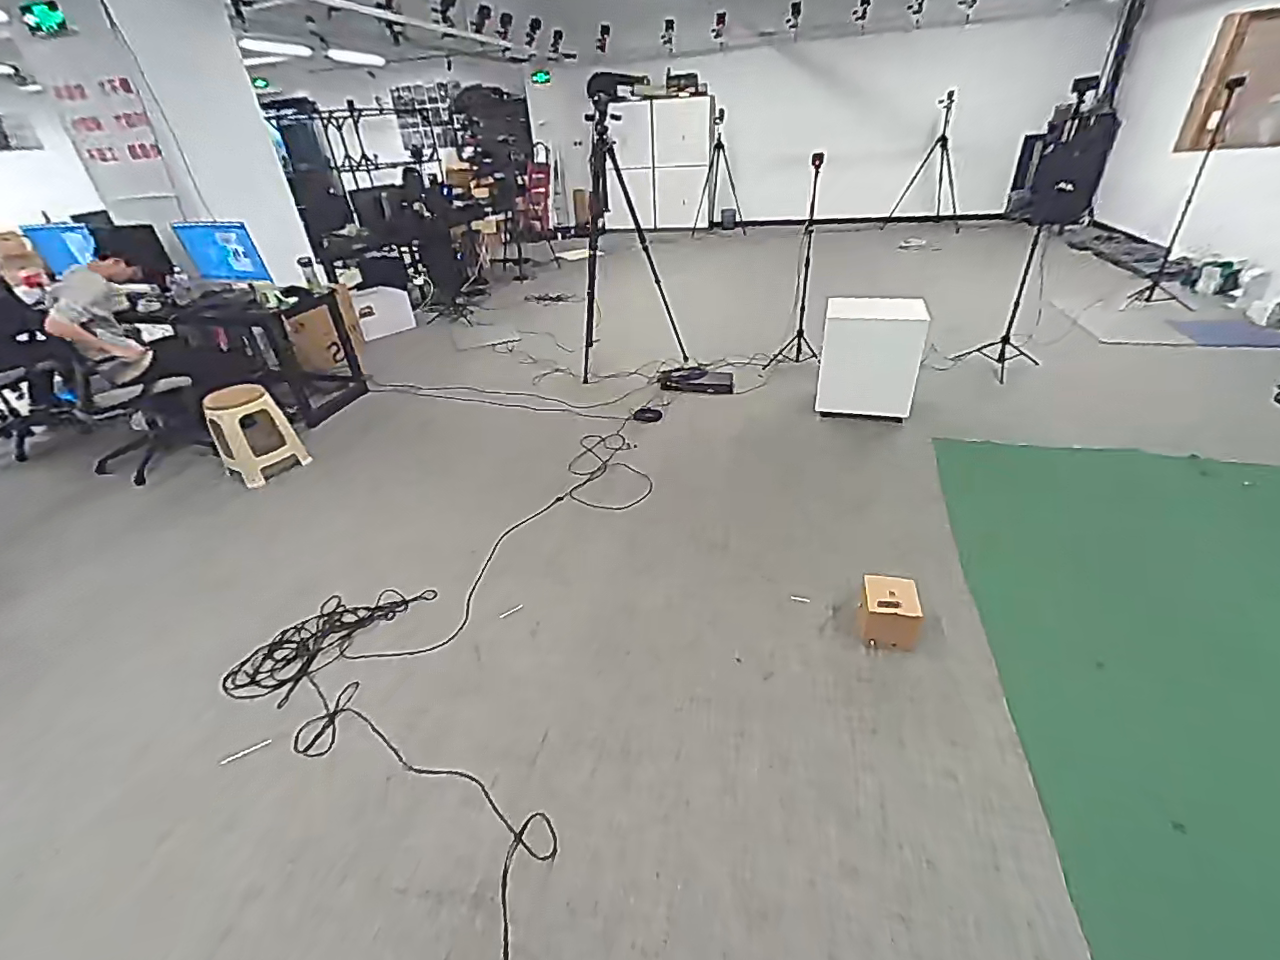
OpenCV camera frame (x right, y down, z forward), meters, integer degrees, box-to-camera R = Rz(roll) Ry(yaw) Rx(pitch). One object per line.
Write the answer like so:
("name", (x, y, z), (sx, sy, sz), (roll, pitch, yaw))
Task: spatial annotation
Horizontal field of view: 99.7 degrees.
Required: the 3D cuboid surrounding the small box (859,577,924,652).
("small box", (0.849, 0.459, 1.836), (0.168, 0.176, 0.179), (5, 34, 14))
